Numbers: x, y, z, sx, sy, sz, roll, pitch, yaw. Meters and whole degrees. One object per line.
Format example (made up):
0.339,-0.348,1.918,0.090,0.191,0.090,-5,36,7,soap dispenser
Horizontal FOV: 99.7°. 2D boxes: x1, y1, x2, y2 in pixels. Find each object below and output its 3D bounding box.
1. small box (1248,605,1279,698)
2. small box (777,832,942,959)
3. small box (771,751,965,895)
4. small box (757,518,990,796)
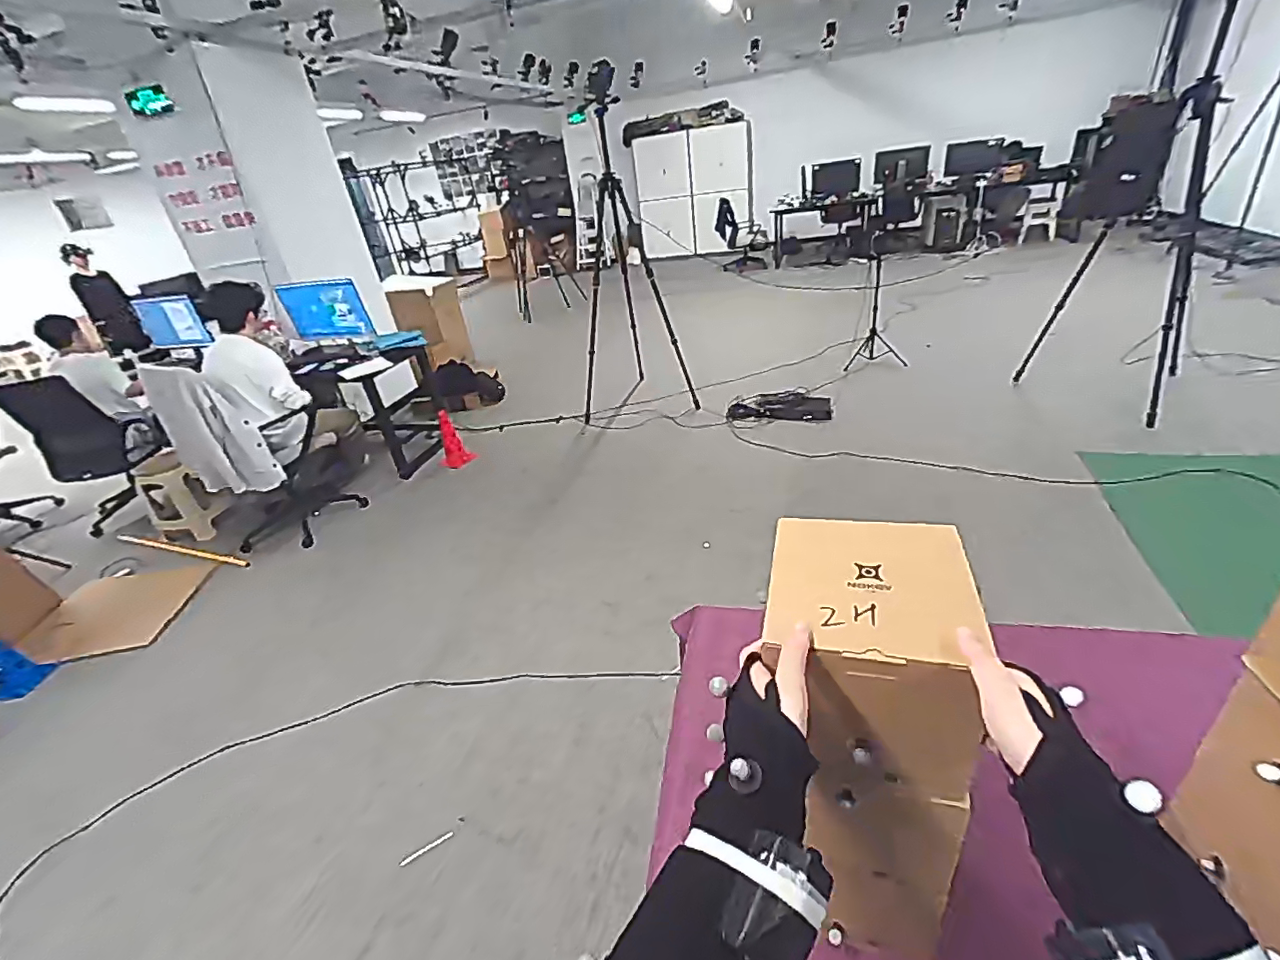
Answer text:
0.649,0.142,0.409,0.179,0.176,0.168,-2,30,14,small box
0.264,0.440,0.673,0.168,0.176,0.179,2,32,20,small box
0.239,0.299,0.591,0.168,0.176,0.179,1,31,20,small box
0.206,0.155,0.513,0.168,0.176,0.179,0,32,19,small box
